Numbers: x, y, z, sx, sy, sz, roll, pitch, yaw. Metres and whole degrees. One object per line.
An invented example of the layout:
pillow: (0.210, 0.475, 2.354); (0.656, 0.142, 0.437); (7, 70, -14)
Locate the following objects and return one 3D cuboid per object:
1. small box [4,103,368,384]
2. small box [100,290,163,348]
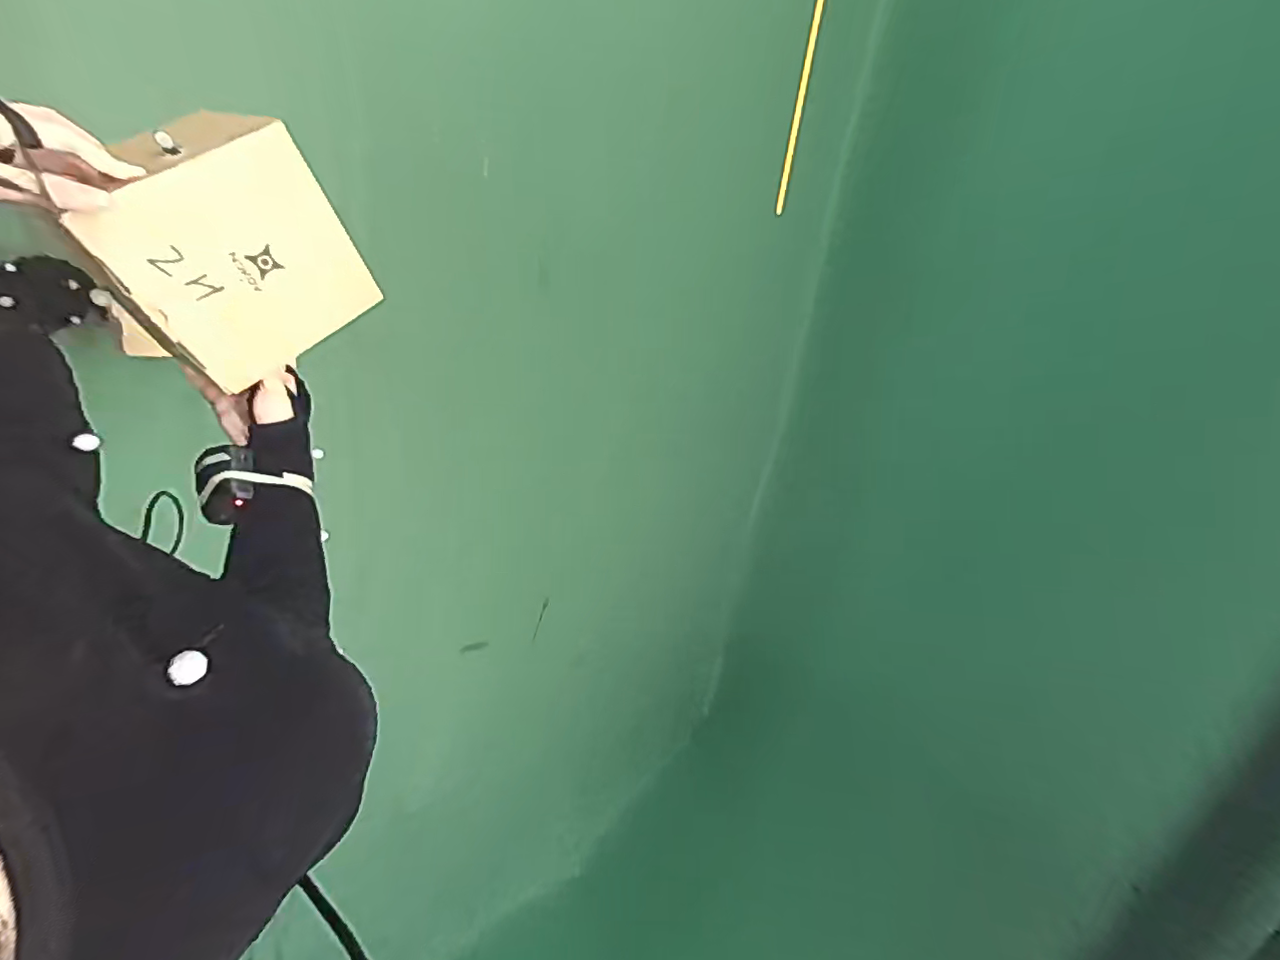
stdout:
small box: (-0.405, -0.224, 0.499); (0.179, 0.176, 0.168); (-48, 147, -25)
small box: (-0.793, -0.322, 0.918); (0.179, 0.176, 0.168); (-12, 120, -44)
